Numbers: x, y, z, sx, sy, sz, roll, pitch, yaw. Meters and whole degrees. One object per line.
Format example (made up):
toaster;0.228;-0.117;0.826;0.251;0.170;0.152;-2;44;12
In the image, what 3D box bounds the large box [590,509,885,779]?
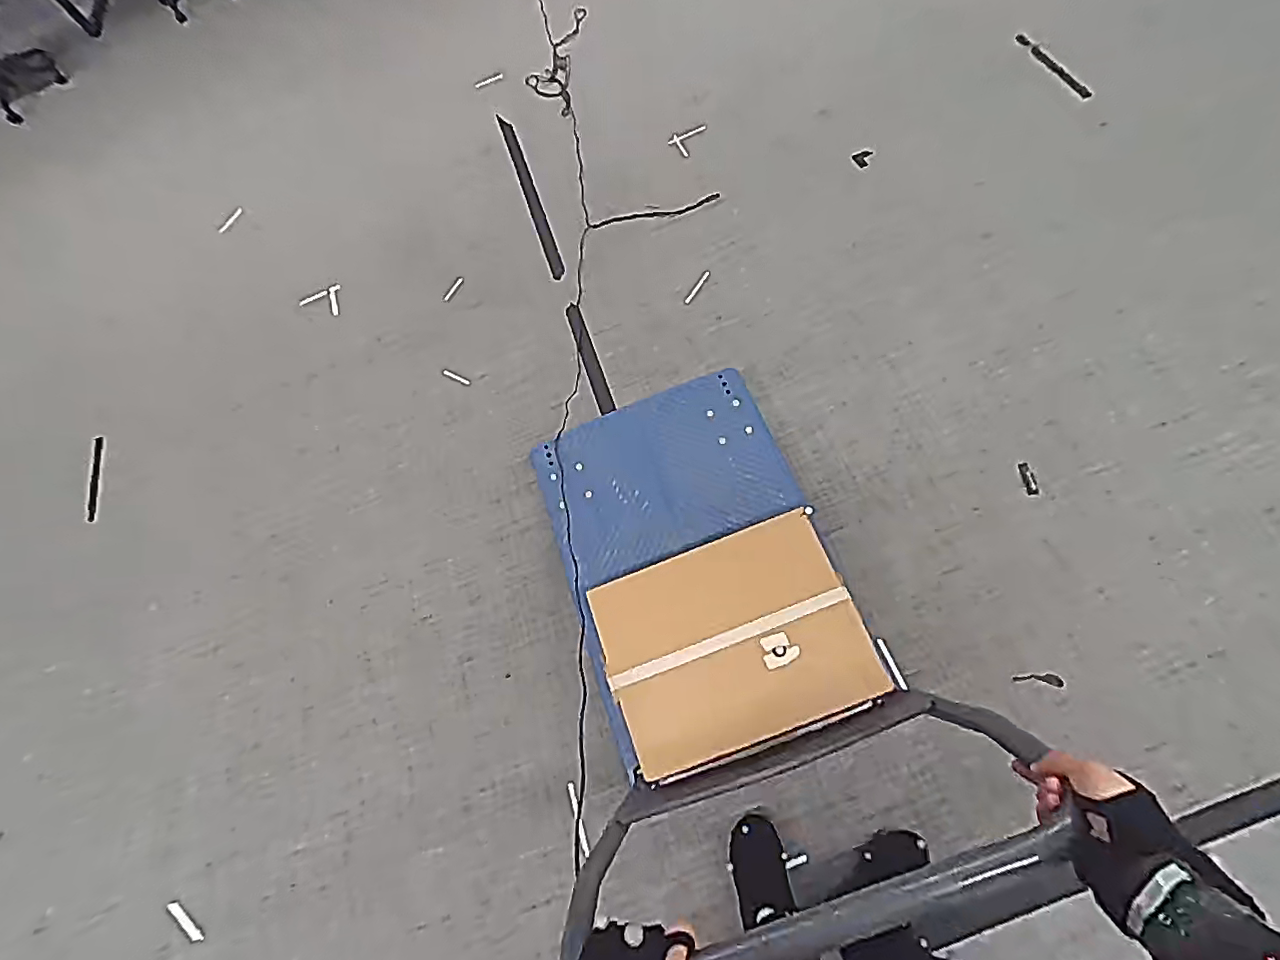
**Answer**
large box;0.166;0.306;1.024;0.408;0.320;0.320;-22;70;1
